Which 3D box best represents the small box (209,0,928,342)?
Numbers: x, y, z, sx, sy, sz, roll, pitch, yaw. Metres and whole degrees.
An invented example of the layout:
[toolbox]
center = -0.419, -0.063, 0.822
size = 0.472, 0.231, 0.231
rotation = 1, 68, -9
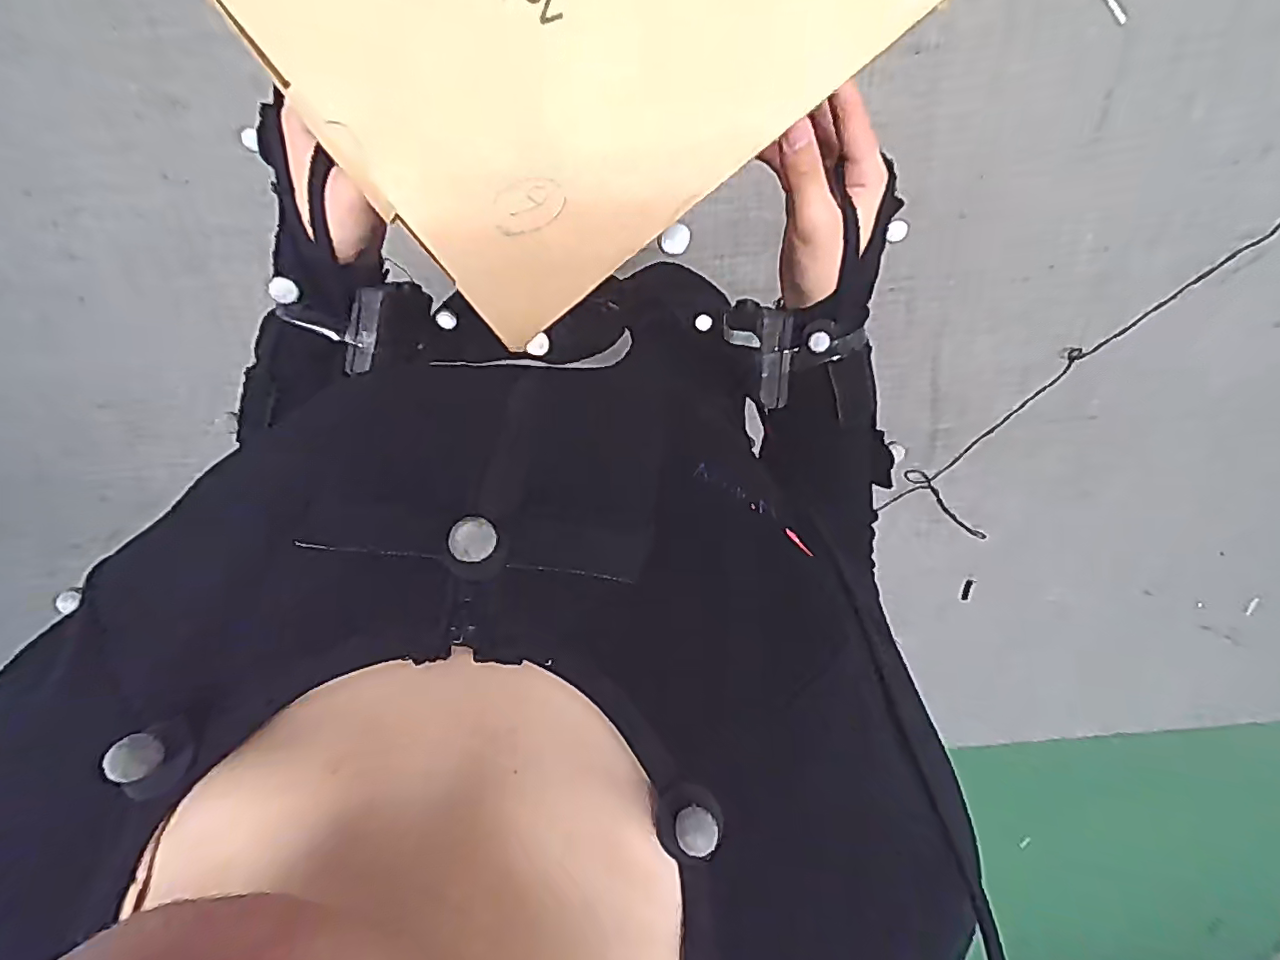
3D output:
[small box]
center = -0.026, -0.188, 0.222
size = 0.179, 0.176, 0.168
rotation = -33, 110, 18
